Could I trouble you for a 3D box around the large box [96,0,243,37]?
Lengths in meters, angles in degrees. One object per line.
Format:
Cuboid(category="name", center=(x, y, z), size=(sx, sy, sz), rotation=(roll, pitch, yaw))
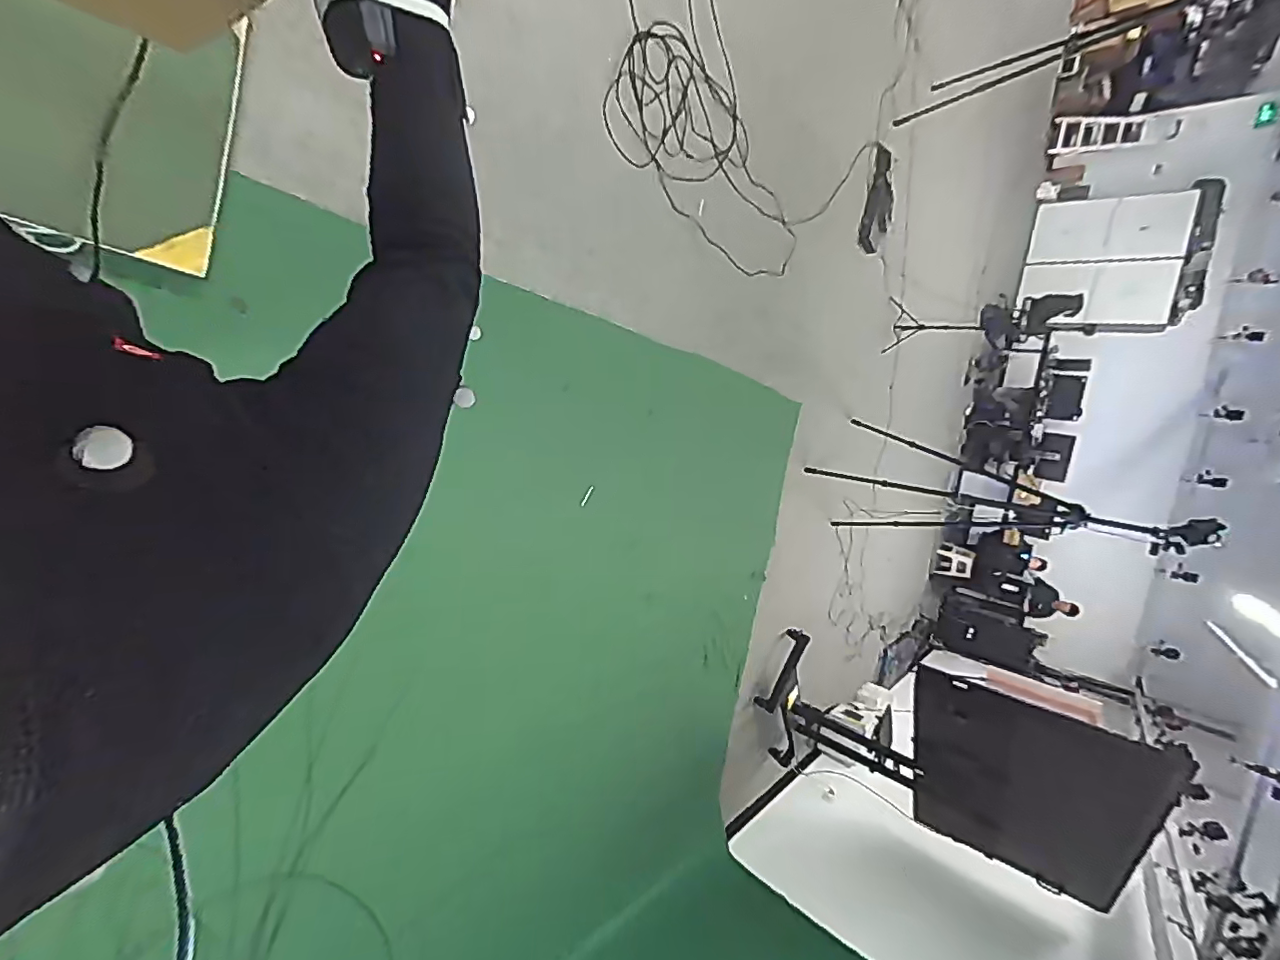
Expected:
Cuboid(category="large box", center=(-0.432, -0.516, 0.258), size=(0.408, 0.320, 0.320), rotation=(-6, 113, -50))
